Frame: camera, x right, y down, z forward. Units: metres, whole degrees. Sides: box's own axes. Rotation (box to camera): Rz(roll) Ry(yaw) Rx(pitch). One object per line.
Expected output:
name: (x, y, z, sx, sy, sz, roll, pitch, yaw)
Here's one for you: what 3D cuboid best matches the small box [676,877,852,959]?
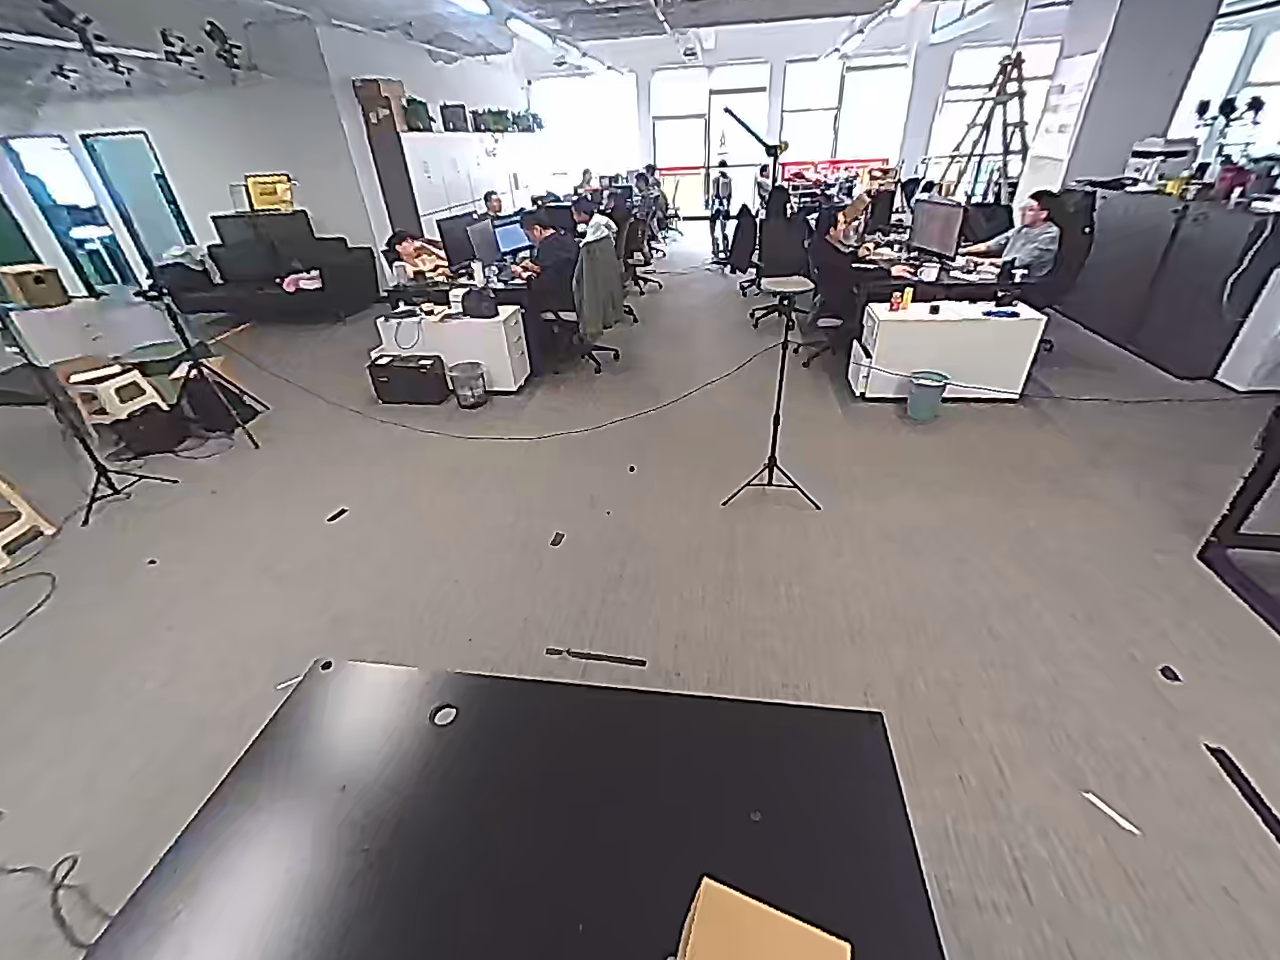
small box: (0.112, 0.578, 0.570, 0.168, 0.176, 0.179, 16, 38, 14)
